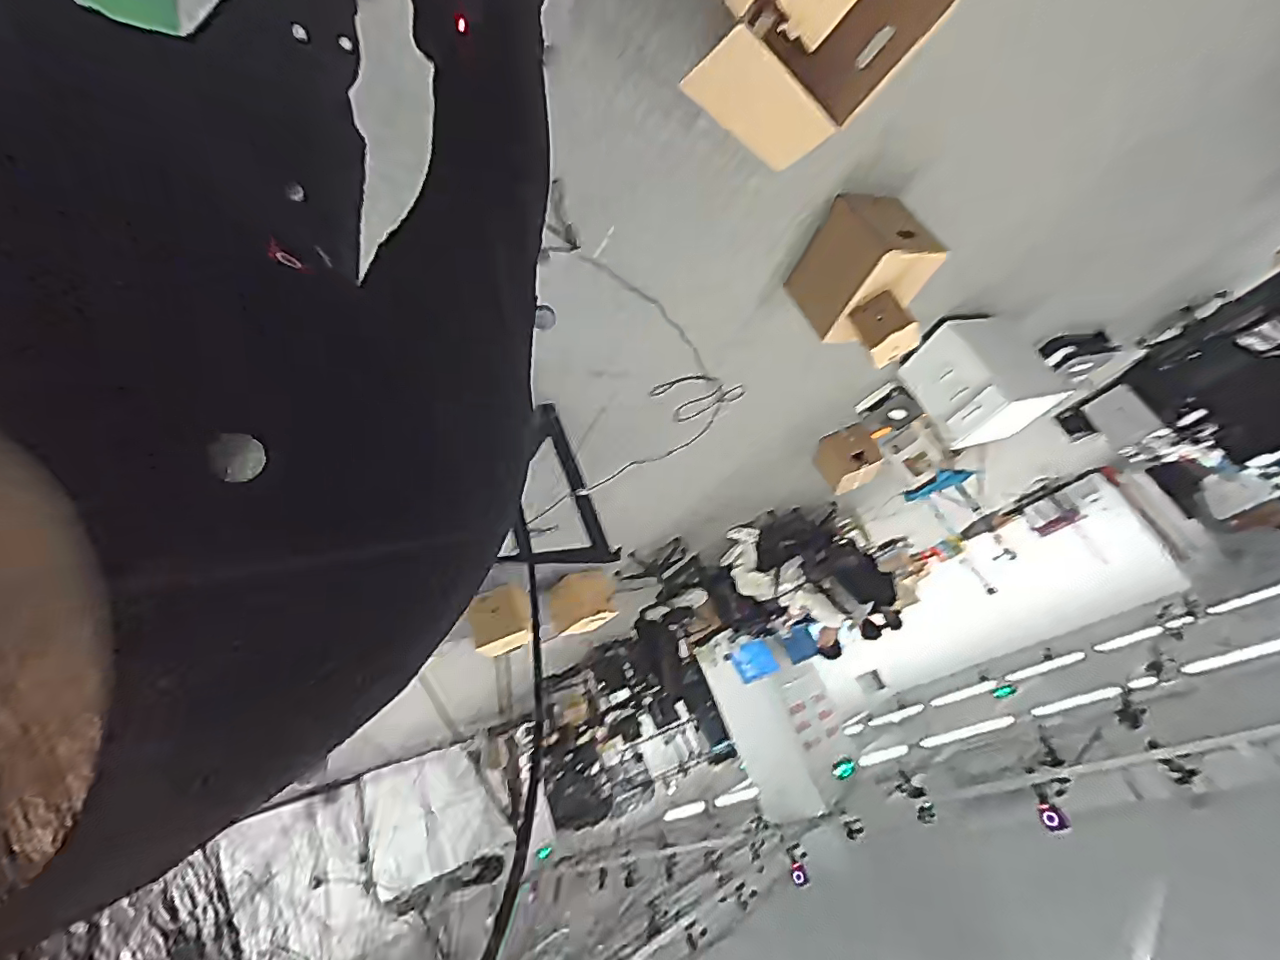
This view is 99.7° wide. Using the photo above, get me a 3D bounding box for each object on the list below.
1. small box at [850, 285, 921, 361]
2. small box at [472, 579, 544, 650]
[{"bbox_3d":[0.880,-0.569,1.944,0.168,0.176,0.179,-33,152,21],"label":"small box"},{"bbox_3d":[-0.439,0.443,1.792,0.168,0.176,0.179,-21,156,-4],"label":"small box"}]
